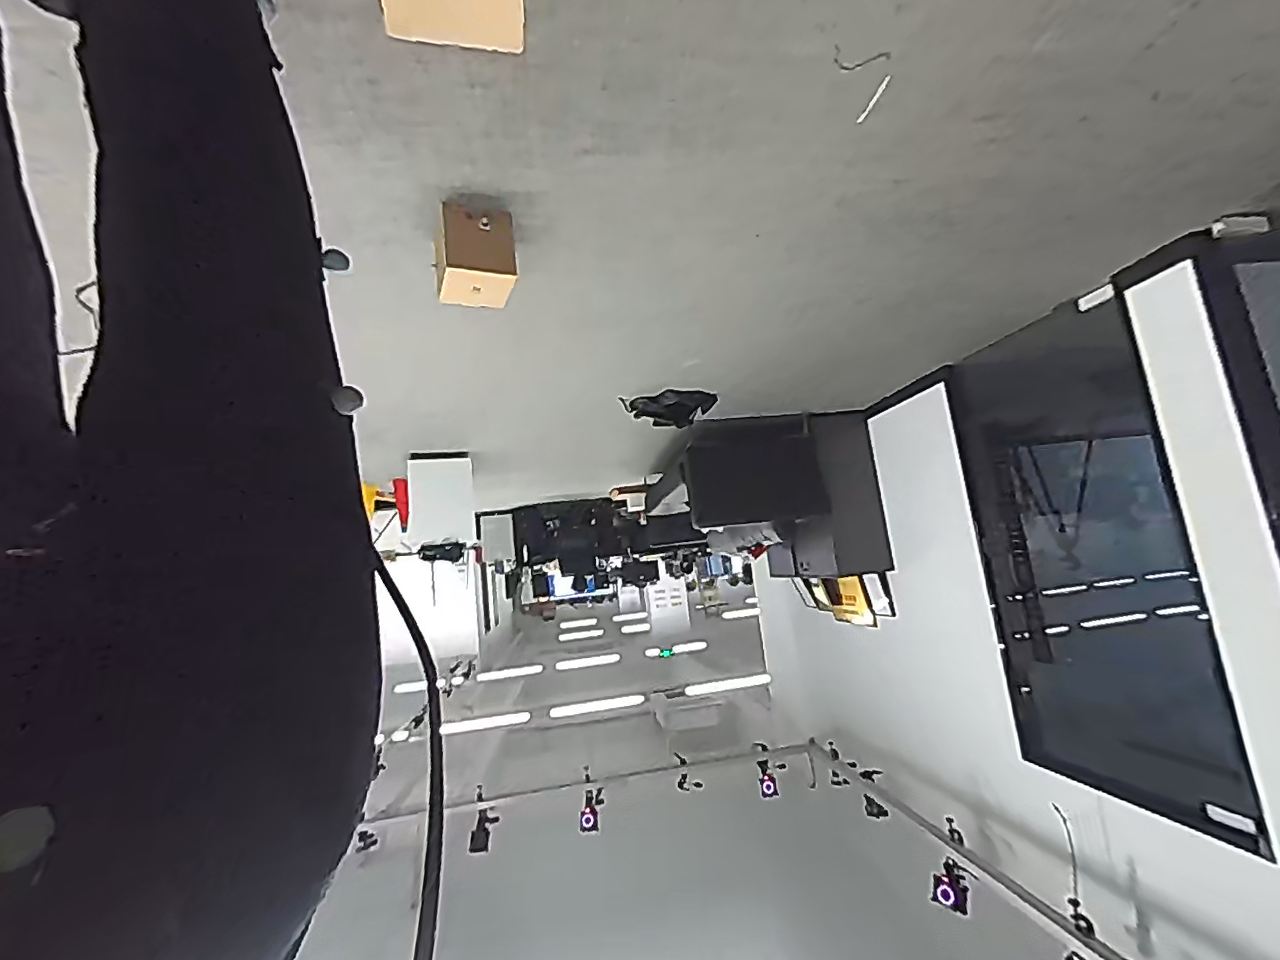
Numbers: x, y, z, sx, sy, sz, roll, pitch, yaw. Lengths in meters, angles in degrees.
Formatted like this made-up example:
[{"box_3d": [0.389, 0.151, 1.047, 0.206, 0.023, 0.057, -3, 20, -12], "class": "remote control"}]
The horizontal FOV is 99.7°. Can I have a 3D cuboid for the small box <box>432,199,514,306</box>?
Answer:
[{"box_3d": [-0.419, -0.556, 1.339, 0.168, 0.176, 0.179, -4, 170, -26], "class": "small box"}]

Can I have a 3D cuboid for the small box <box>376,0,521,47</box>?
[{"box_3d": [-0.240, -0.677, 0.652, 0.179, 0.176, 0.168, -5, 171, -13], "class": "small box"}]
